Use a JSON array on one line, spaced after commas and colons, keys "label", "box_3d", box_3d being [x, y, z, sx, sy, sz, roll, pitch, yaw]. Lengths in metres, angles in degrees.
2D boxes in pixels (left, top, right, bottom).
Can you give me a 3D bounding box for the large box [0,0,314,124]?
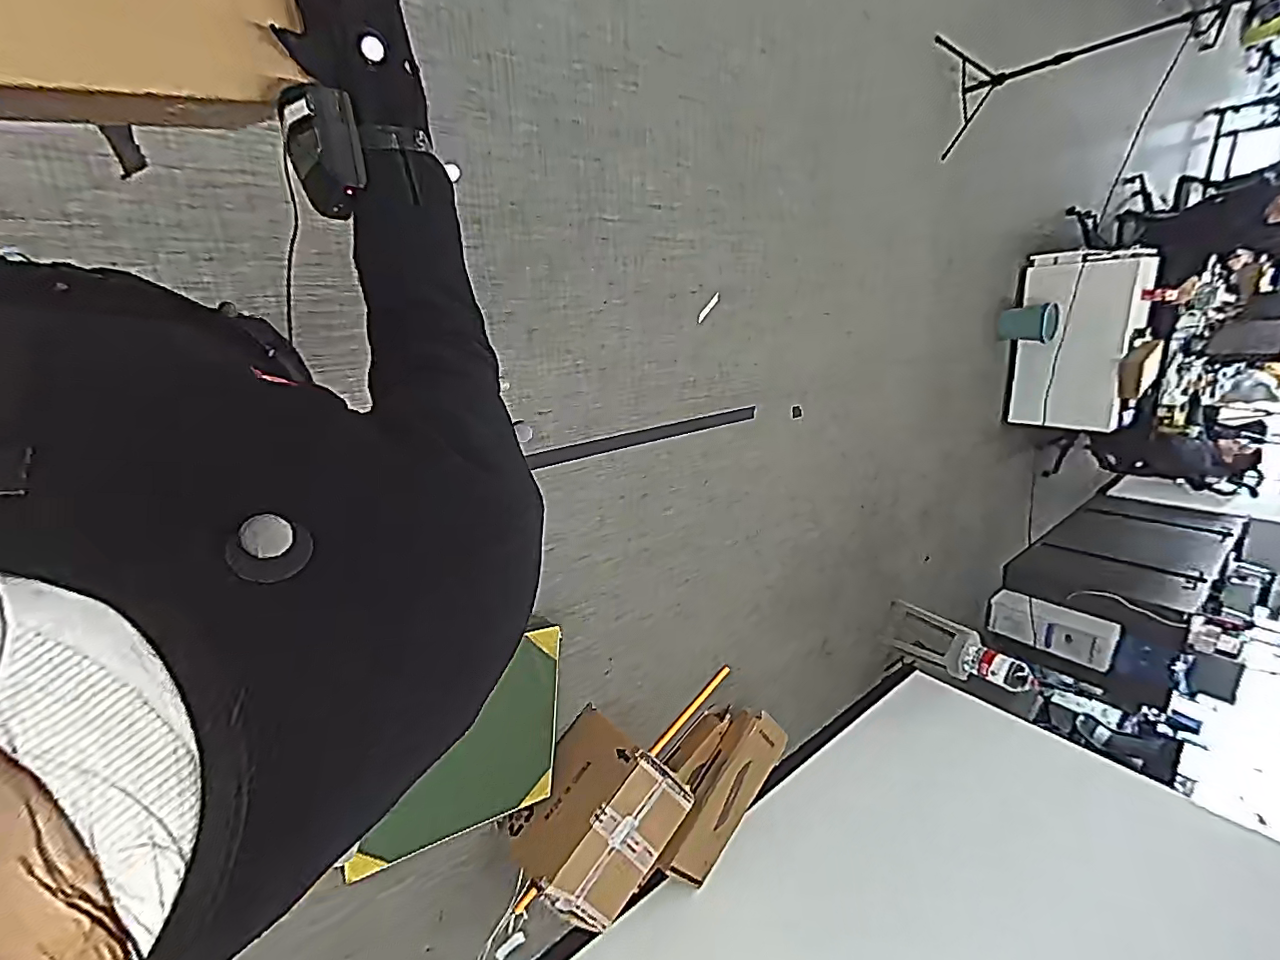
[{"label": "large box", "box_3d": [-0.470, -0.382, 0.280, 0.408, 0.320, 0.320, -24, 128, -35]}]
